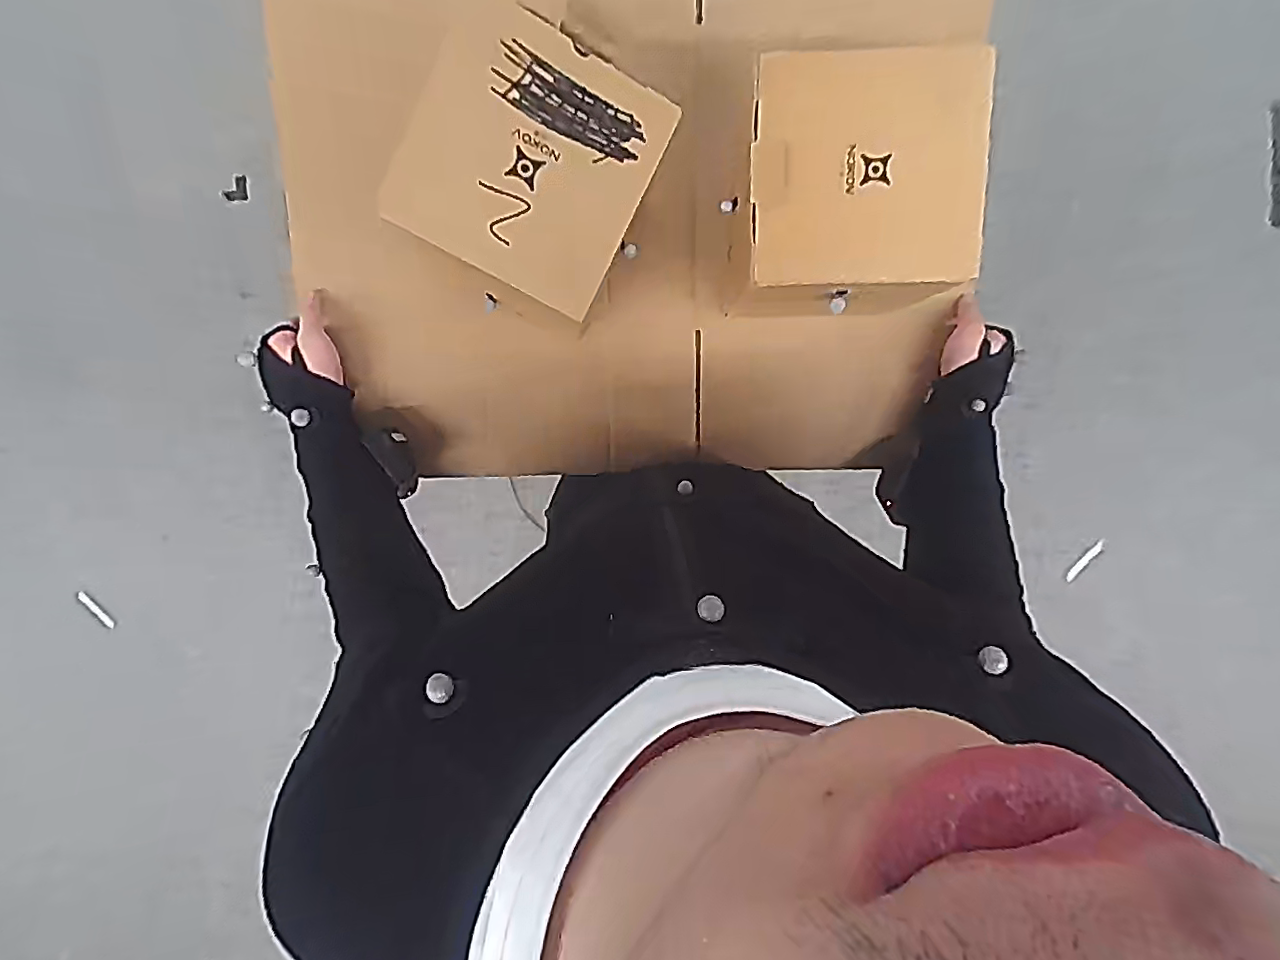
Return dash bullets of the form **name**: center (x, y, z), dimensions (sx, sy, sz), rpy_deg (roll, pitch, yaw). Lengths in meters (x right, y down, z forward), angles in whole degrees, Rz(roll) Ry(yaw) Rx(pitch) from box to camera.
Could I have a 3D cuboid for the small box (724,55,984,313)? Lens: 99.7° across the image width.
- **small box**: center (0.178, -0.254, 0.503), dimensions (0.179, 0.176, 0.168), rpy_deg (0, 98, 2)
